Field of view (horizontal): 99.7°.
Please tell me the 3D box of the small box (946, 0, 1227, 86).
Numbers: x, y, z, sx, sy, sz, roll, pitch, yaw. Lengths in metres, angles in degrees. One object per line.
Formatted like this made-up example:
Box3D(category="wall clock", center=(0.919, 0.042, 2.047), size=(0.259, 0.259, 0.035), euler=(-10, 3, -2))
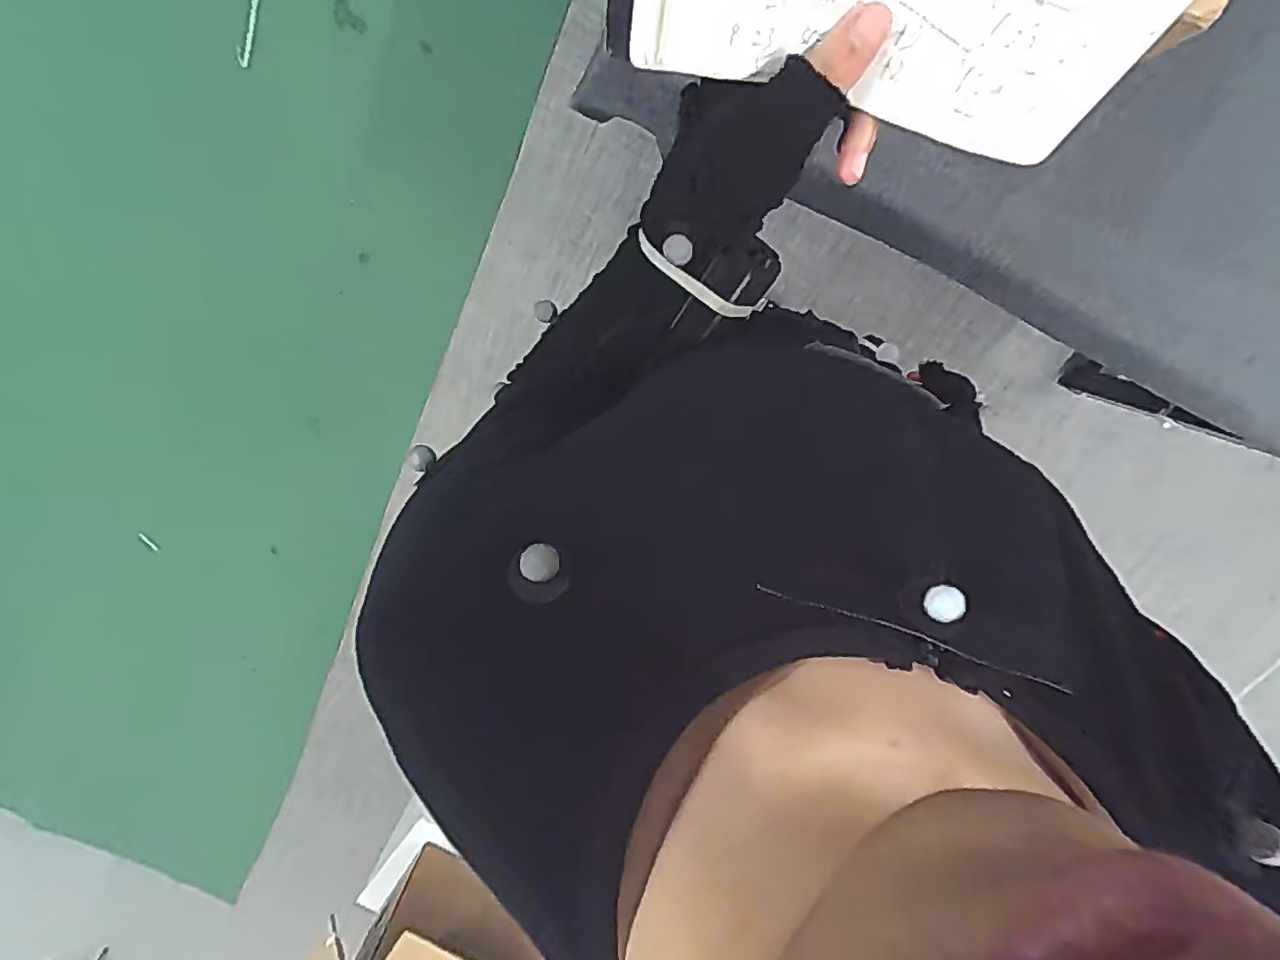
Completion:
Box3D(category="small box", center=(0.399, -0.480, 0.451), size=(0.168, 0.176, 0.179), euler=(22, 111, -3))
